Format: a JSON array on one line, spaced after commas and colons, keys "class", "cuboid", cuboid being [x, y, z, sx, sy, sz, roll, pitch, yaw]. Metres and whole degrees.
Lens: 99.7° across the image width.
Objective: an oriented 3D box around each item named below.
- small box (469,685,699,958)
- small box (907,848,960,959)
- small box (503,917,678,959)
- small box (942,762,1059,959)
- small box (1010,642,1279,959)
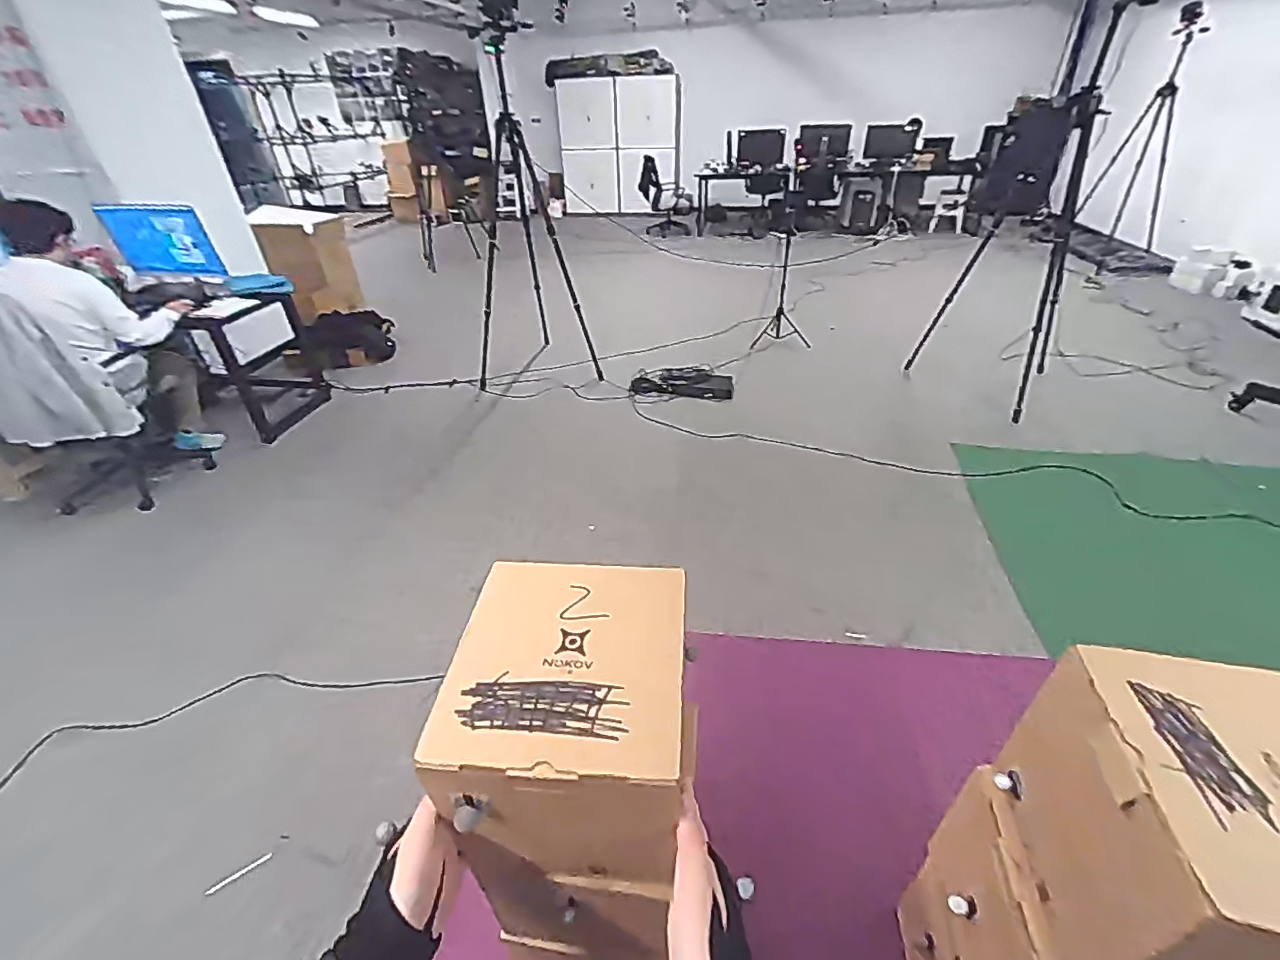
[{"class": "small box", "cuboid": [-0.036, 0.327, 0.525, 0.179, 0.176, 0.168, 4, 37, 8]}, {"class": "small box", "cuboid": [0.382, 0.502, 0.534, 0.179, 0.176, 0.168, 4, 35, 8]}, {"class": "small box", "cuboid": [-0.035, 0.460, 0.619, 0.168, 0.176, 0.179, 4, 36, 9]}, {"class": "small box", "cuboid": [0.368, 0.367, 0.441, 0.179, 0.176, 0.168, 5, 36, 12]}, {"class": "small box", "cuboid": [0.371, 0.234, 0.344, 0.179, 0.176, 0.168, 7, 36, 11]}]
